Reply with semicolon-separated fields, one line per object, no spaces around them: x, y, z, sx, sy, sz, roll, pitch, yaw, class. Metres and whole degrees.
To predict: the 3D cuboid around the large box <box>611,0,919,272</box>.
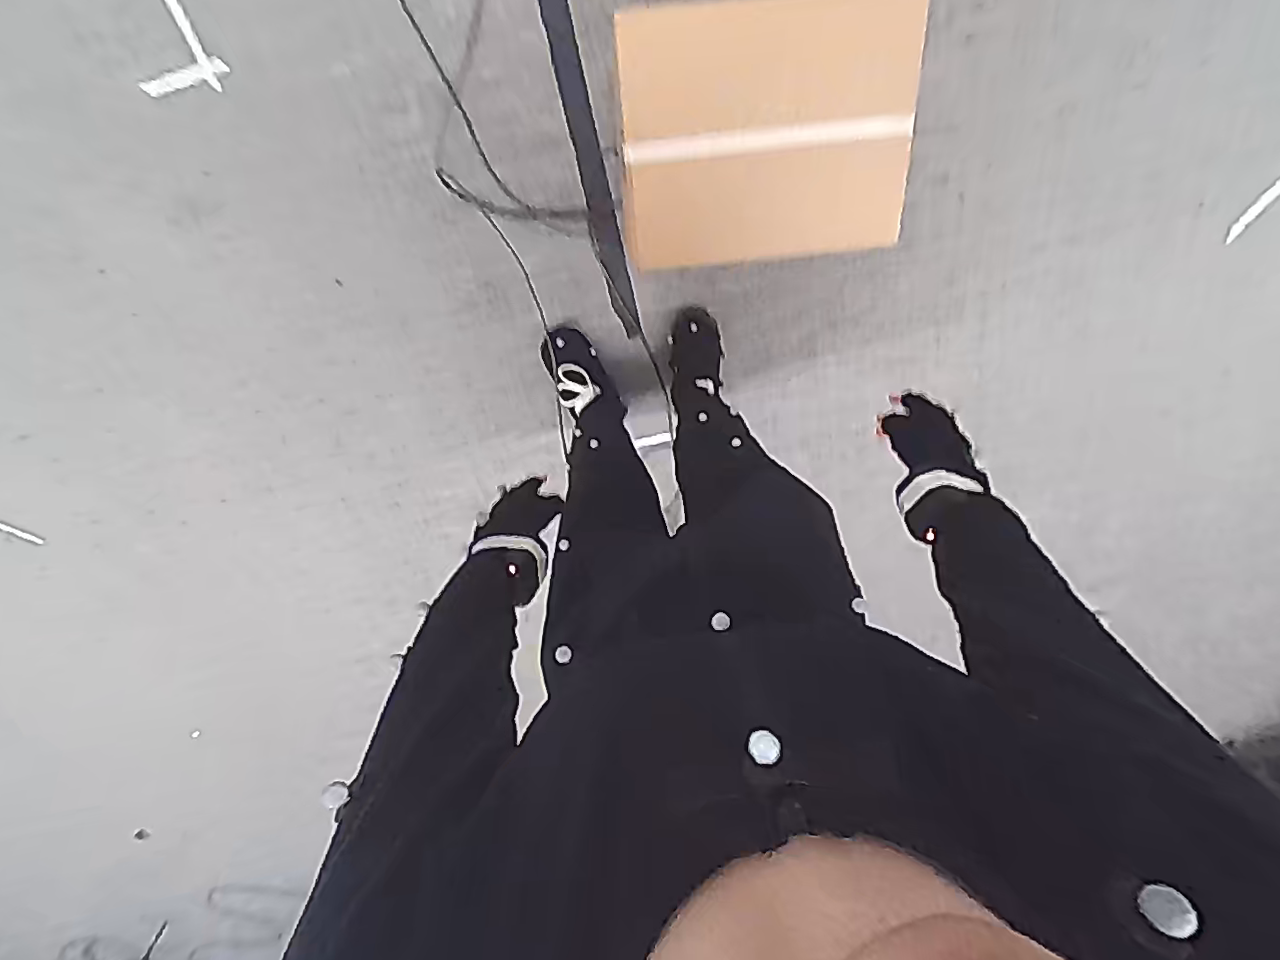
0.171;-0.550;0.899;0.408;0.320;0.320;-6;119;0;large box
